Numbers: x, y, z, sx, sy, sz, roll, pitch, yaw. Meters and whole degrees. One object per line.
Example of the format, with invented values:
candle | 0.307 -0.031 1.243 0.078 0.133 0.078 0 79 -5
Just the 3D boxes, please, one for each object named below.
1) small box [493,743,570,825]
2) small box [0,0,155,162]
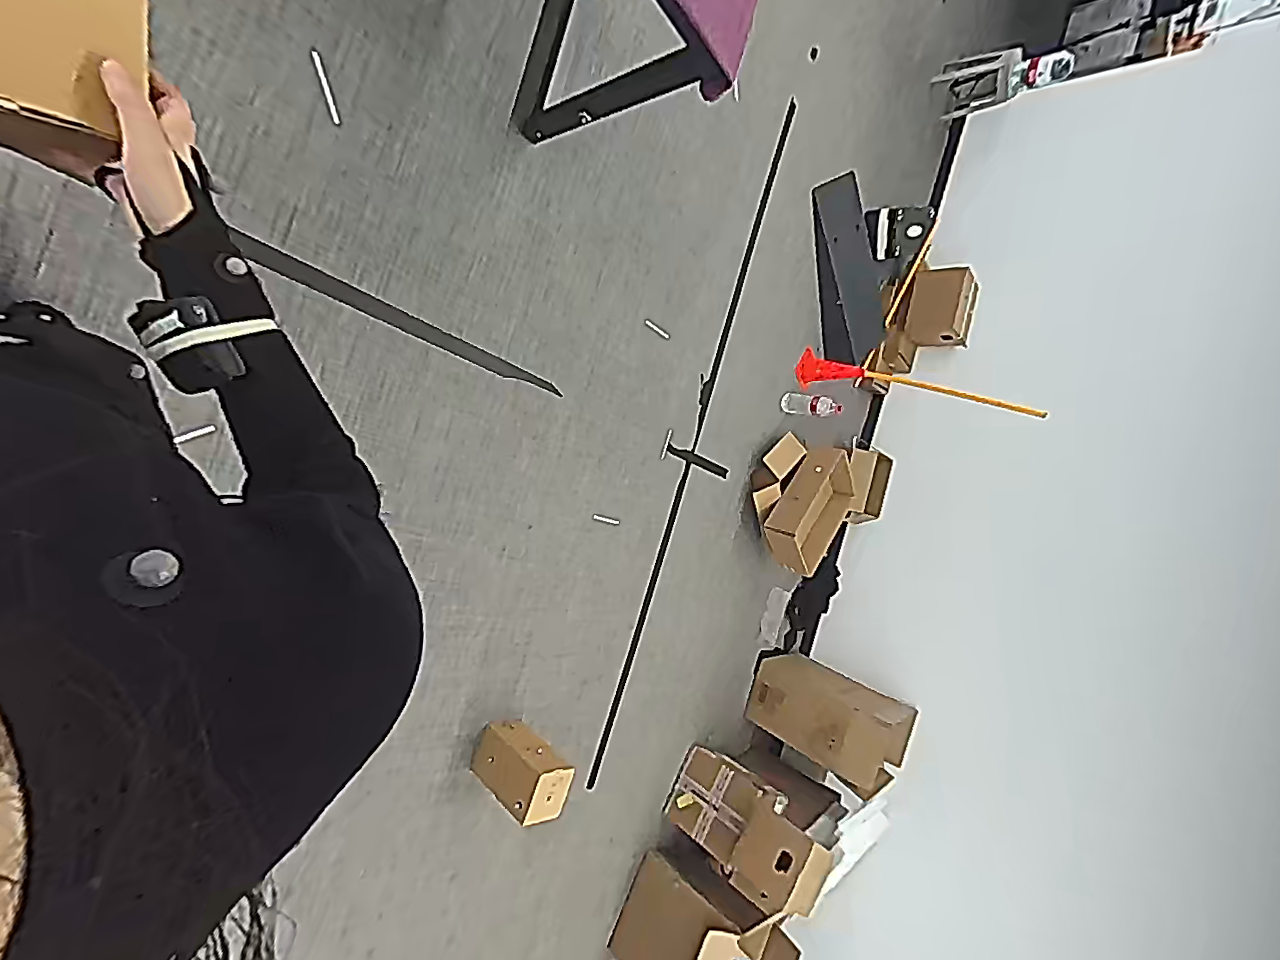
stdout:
small box | -0.376 1.035 1.852 0.168 0.176 0.179 25 82 -49
small box | -0.435 -0.325 0.334 0.168 0.176 0.179 -7 110 -56
